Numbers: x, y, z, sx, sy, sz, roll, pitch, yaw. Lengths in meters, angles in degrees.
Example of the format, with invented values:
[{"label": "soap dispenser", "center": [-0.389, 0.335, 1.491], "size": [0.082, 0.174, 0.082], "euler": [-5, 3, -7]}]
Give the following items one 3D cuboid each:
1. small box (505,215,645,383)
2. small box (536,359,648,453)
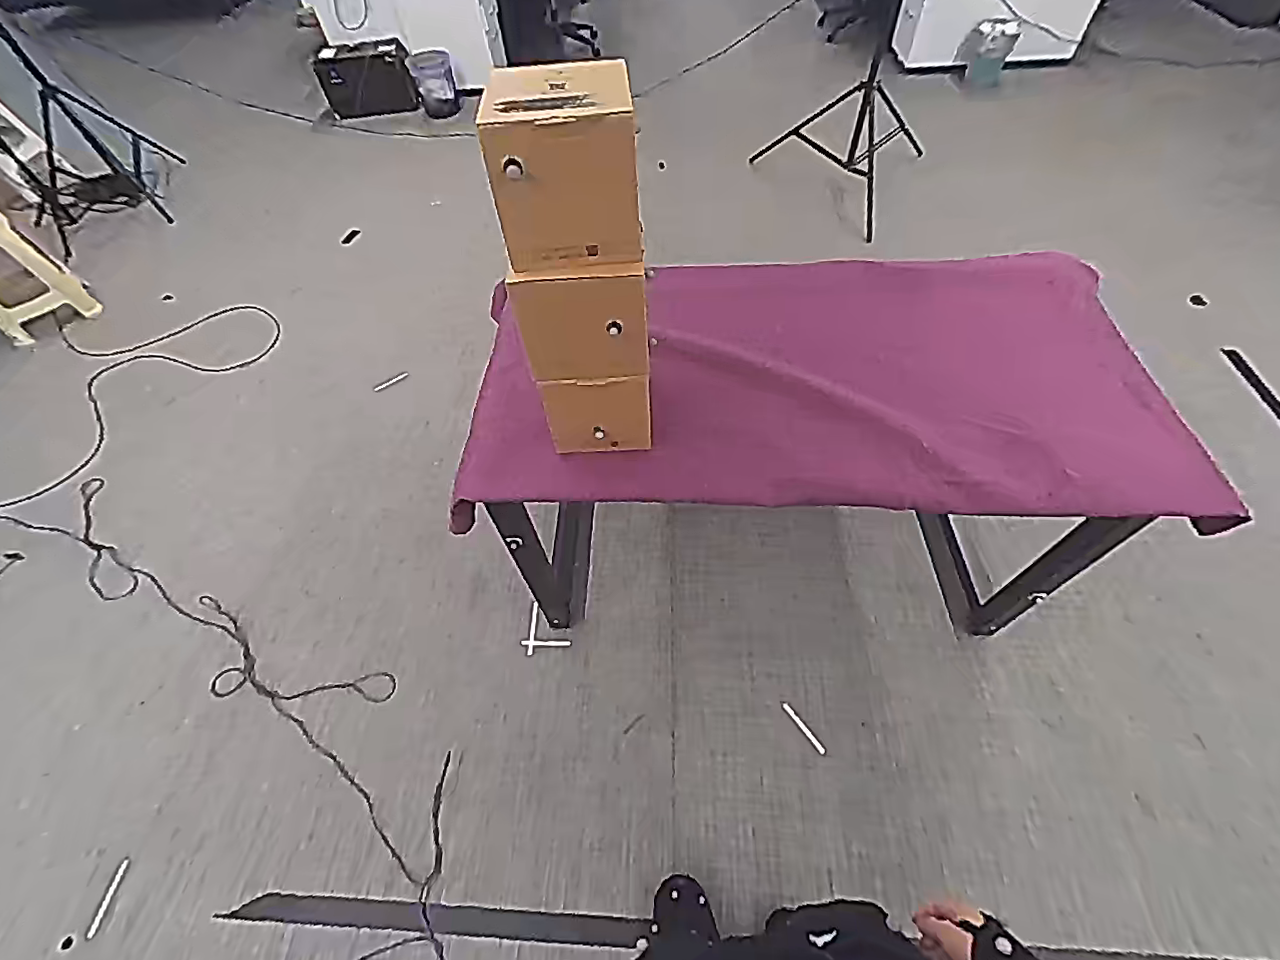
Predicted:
[{"label": "small box", "center": [-0.082, -0.260, 0.789], "size": [0.179, 0.176, 0.168], "euler": [-4, 53, 2]}, {"label": "small box", "center": [-0.072, -0.165, 0.920], "size": [0.168, 0.176, 0.179], "euler": [-3, 55, 2]}]
